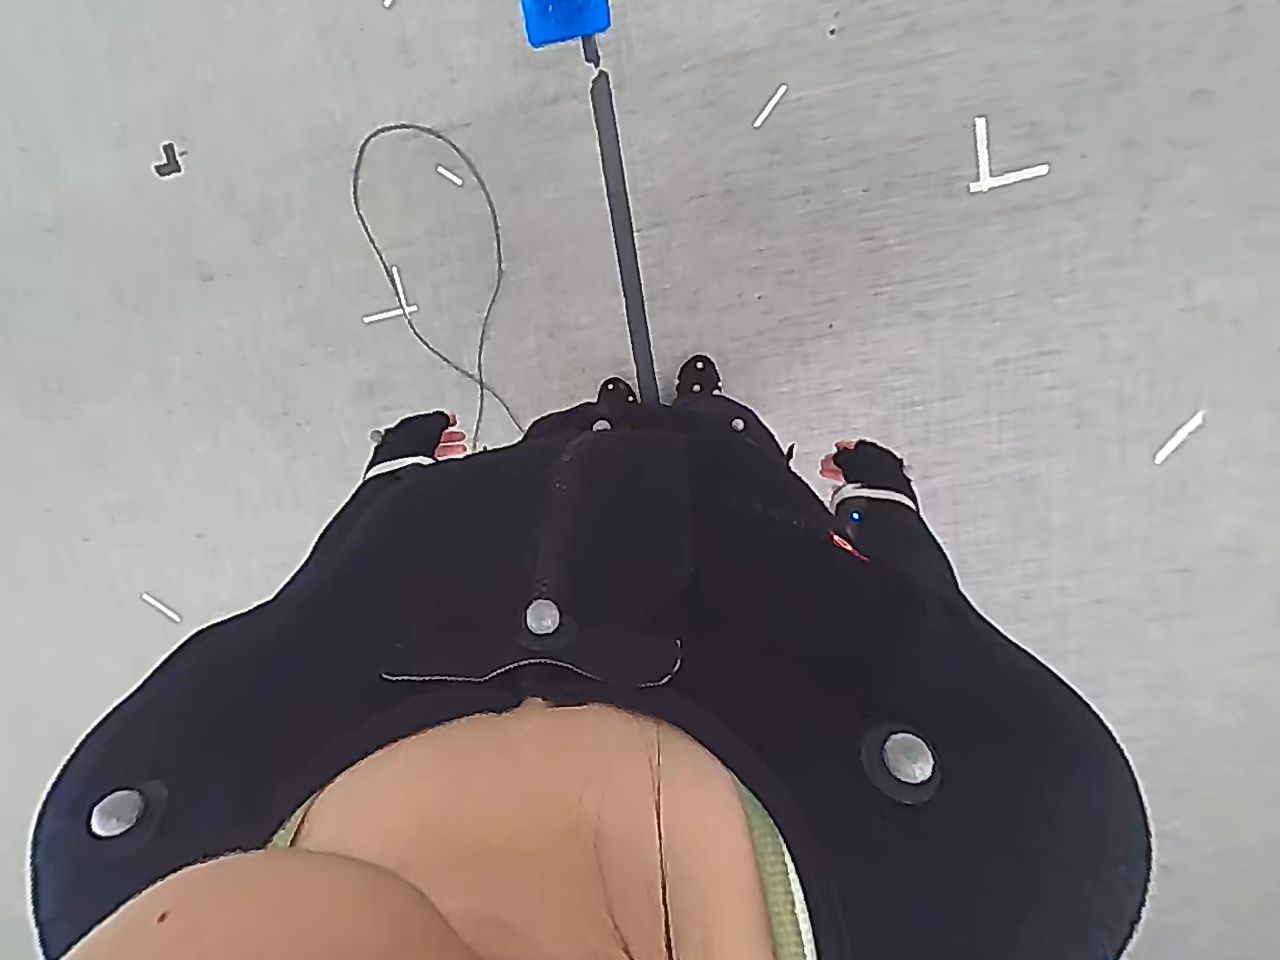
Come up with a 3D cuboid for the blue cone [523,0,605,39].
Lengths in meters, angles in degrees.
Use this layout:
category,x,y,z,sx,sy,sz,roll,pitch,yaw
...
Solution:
category,x,y,z,sx,sy,sz,roll,pitch,yaw
blue cone,-0.192,-1.073,1.056,0.193,0.380,0.192,-10,103,7
